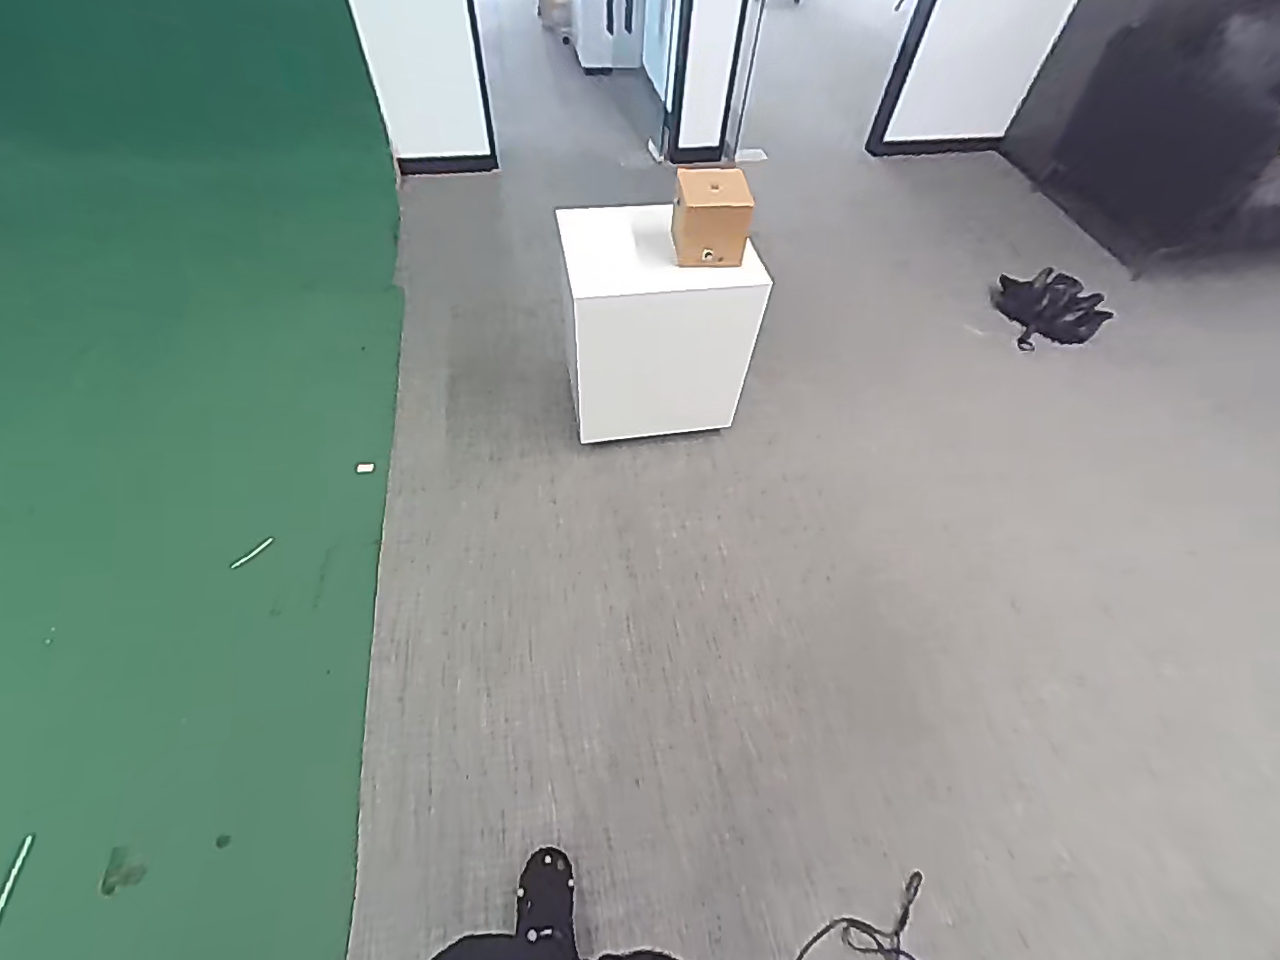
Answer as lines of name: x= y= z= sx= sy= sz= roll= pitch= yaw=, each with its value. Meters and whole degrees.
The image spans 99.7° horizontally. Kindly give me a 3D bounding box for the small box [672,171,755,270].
small box: x=0.179 y=-0.661 z=1.378 sx=0.168 sy=0.176 sz=0.179 roll=-4 pitch=56 yaw=-5
